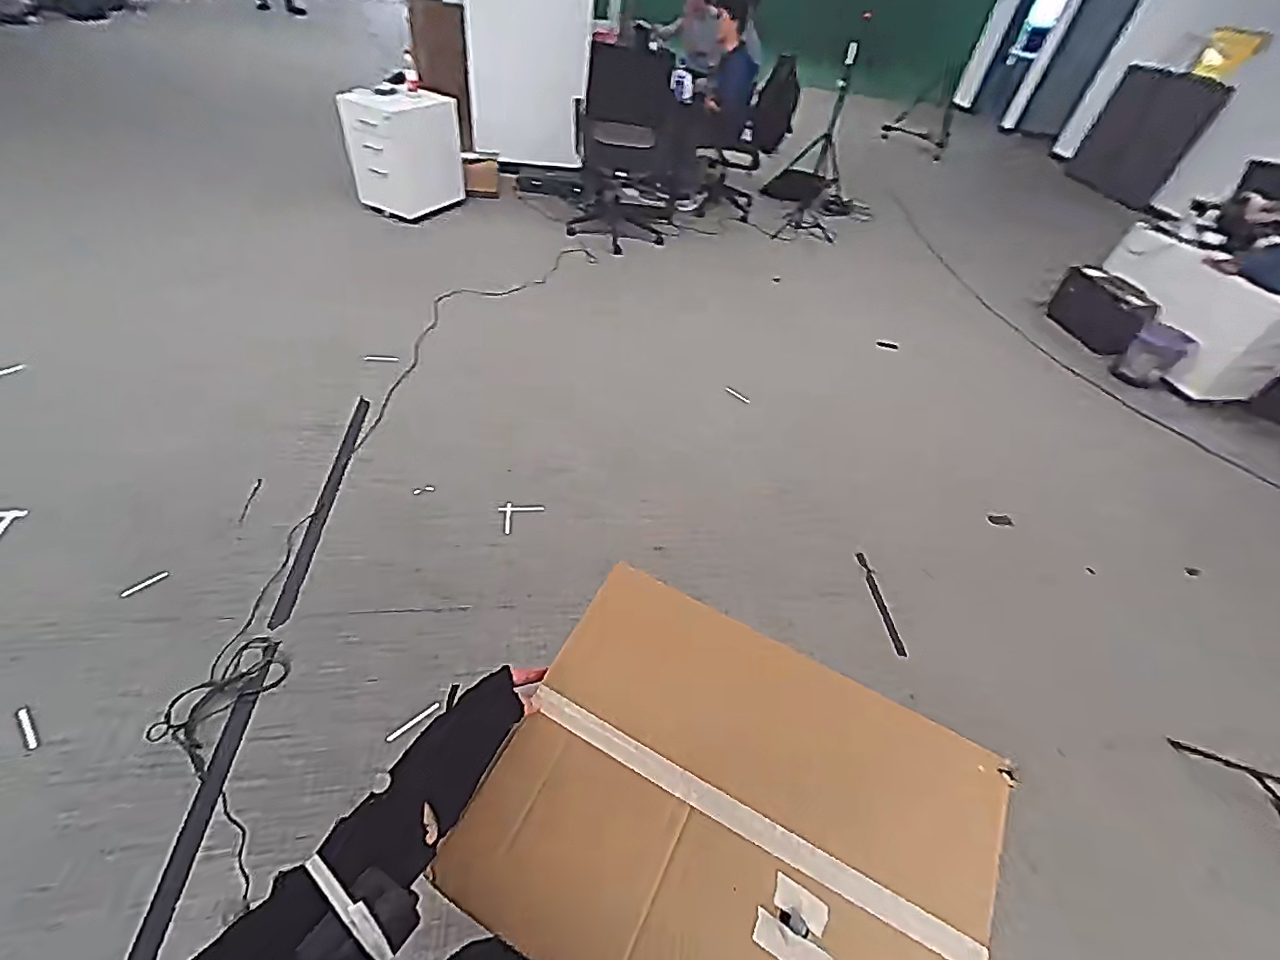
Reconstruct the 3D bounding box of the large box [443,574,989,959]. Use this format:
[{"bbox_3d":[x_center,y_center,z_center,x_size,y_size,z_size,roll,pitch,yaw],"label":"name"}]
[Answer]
[{"bbox_3d":[0.073,0.372,0.590,0.408,0.320,0.320,25,58,14],"label":"large box"}]
